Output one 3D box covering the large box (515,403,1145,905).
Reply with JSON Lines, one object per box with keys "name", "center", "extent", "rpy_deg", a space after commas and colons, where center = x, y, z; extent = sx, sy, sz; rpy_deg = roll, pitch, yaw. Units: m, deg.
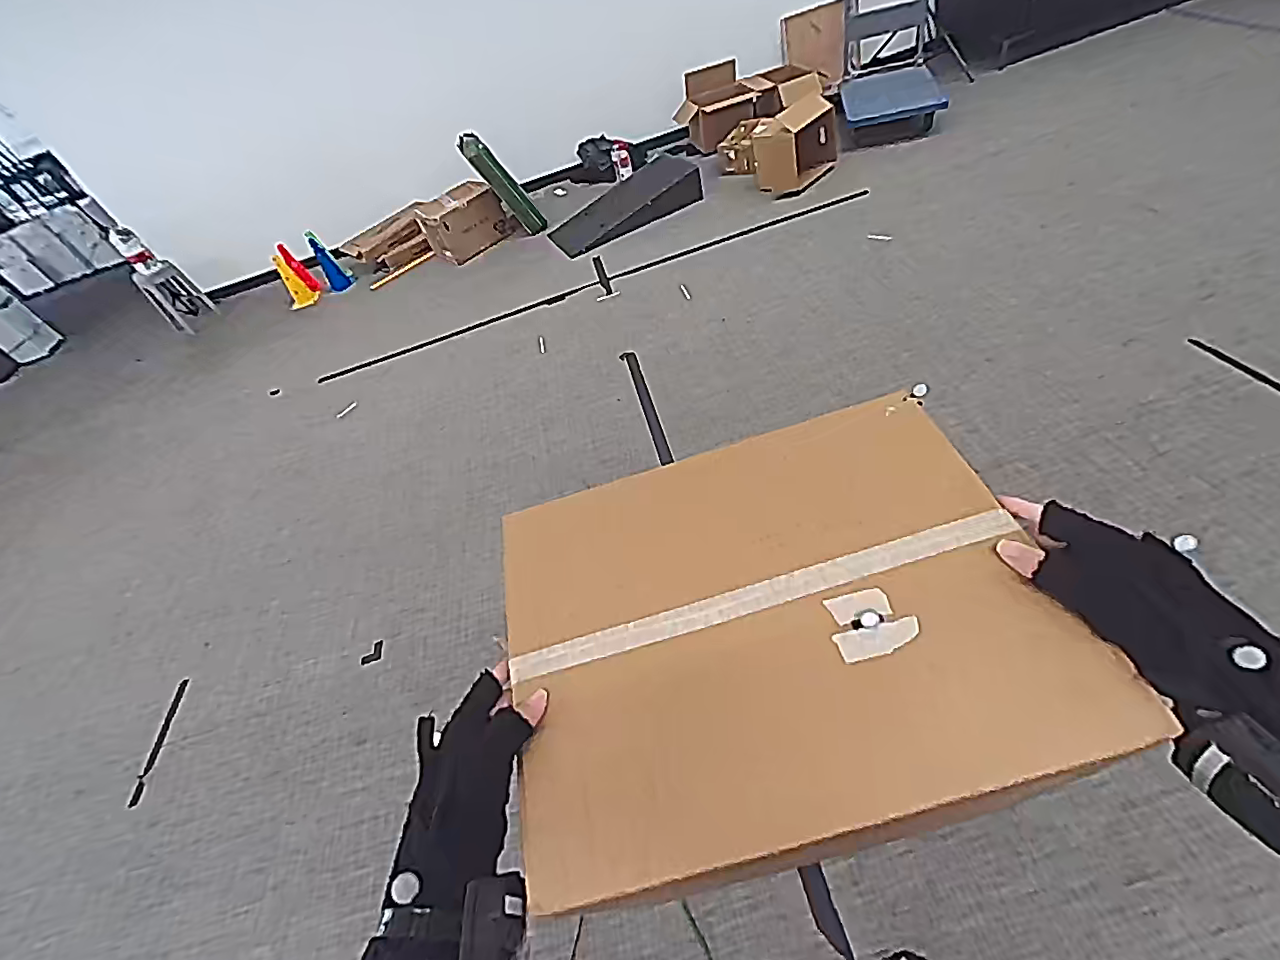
{"name": "large box", "center": [0.127, 0.186, 0.549], "extent": [0.408, 0.320, 0.320], "rpy_deg": [-17, 51, 1]}
